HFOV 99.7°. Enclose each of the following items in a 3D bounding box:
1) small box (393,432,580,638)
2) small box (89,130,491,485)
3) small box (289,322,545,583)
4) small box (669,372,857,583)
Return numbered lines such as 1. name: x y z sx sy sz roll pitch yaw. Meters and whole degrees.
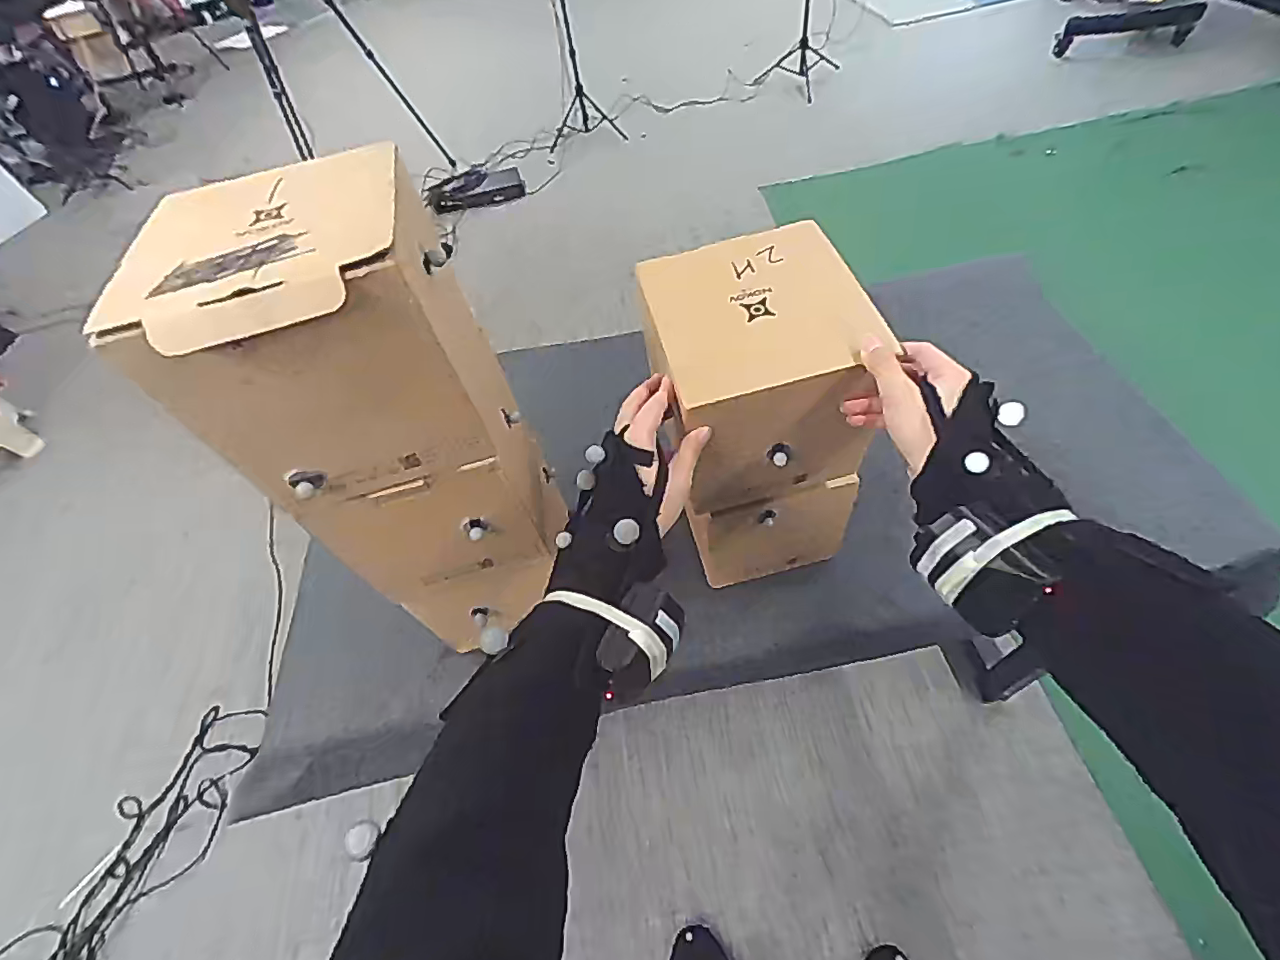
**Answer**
1. small box: -0.178 0.075 0.658 0.168 0.176 0.179 -15 53 -2
2. small box: -0.218 -0.116 0.396 0.168 0.176 0.179 -16 52 -5
3. small box: -0.199 -0.018 0.527 0.168 0.176 0.179 -15 52 -4
4. small box: 0.137 0.000 0.665 0.168 0.176 0.179 -14 53 -1
